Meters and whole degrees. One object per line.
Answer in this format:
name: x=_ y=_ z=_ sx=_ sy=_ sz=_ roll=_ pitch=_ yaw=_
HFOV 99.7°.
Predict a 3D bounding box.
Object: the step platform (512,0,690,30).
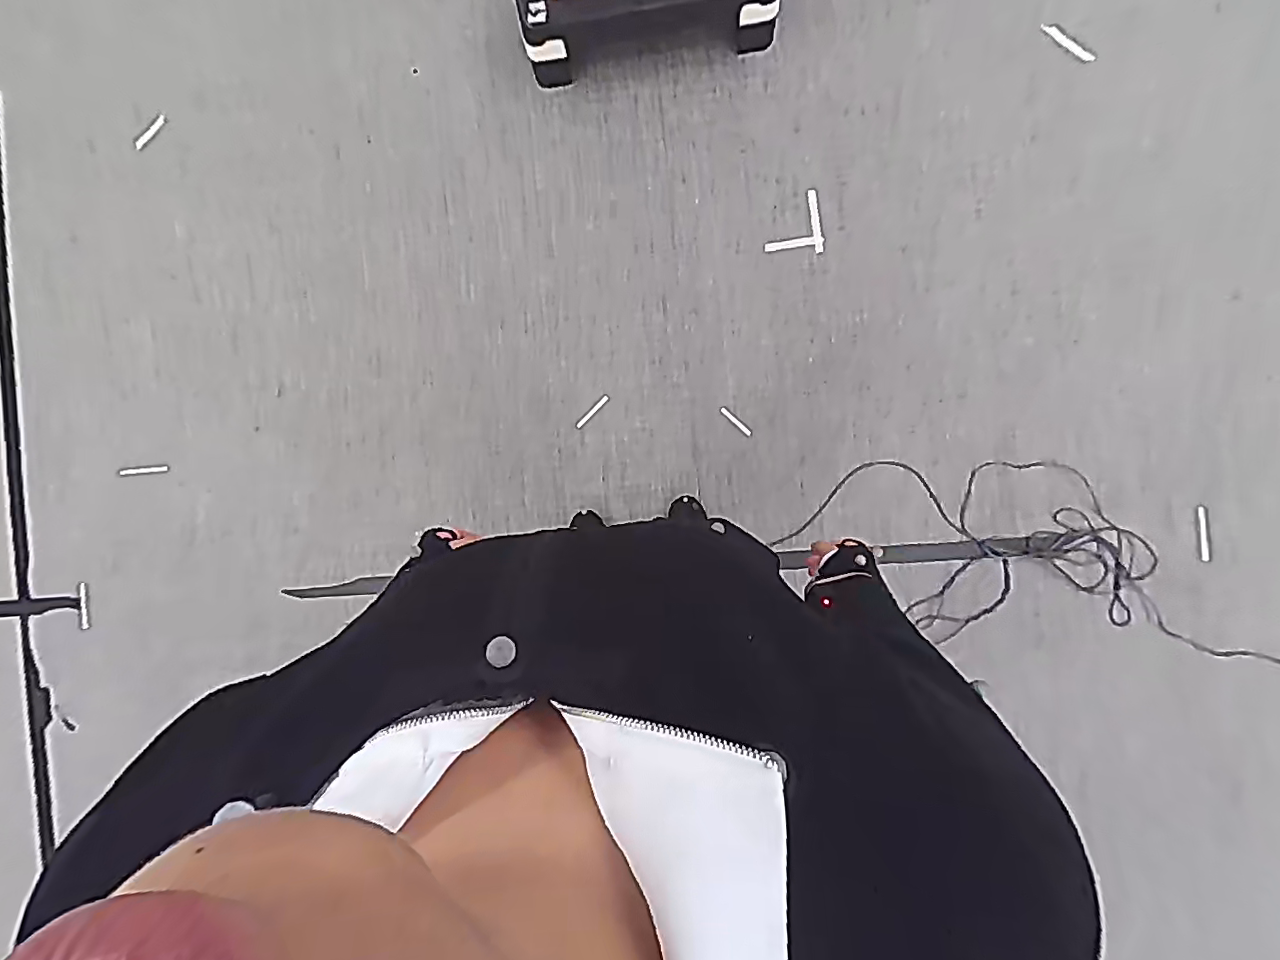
step platform: x=0.011 y=-1.257 z=1.202 sx=0.684 sy=0.204 sz=0.286 roll=-7 pitch=88 yaw=4
